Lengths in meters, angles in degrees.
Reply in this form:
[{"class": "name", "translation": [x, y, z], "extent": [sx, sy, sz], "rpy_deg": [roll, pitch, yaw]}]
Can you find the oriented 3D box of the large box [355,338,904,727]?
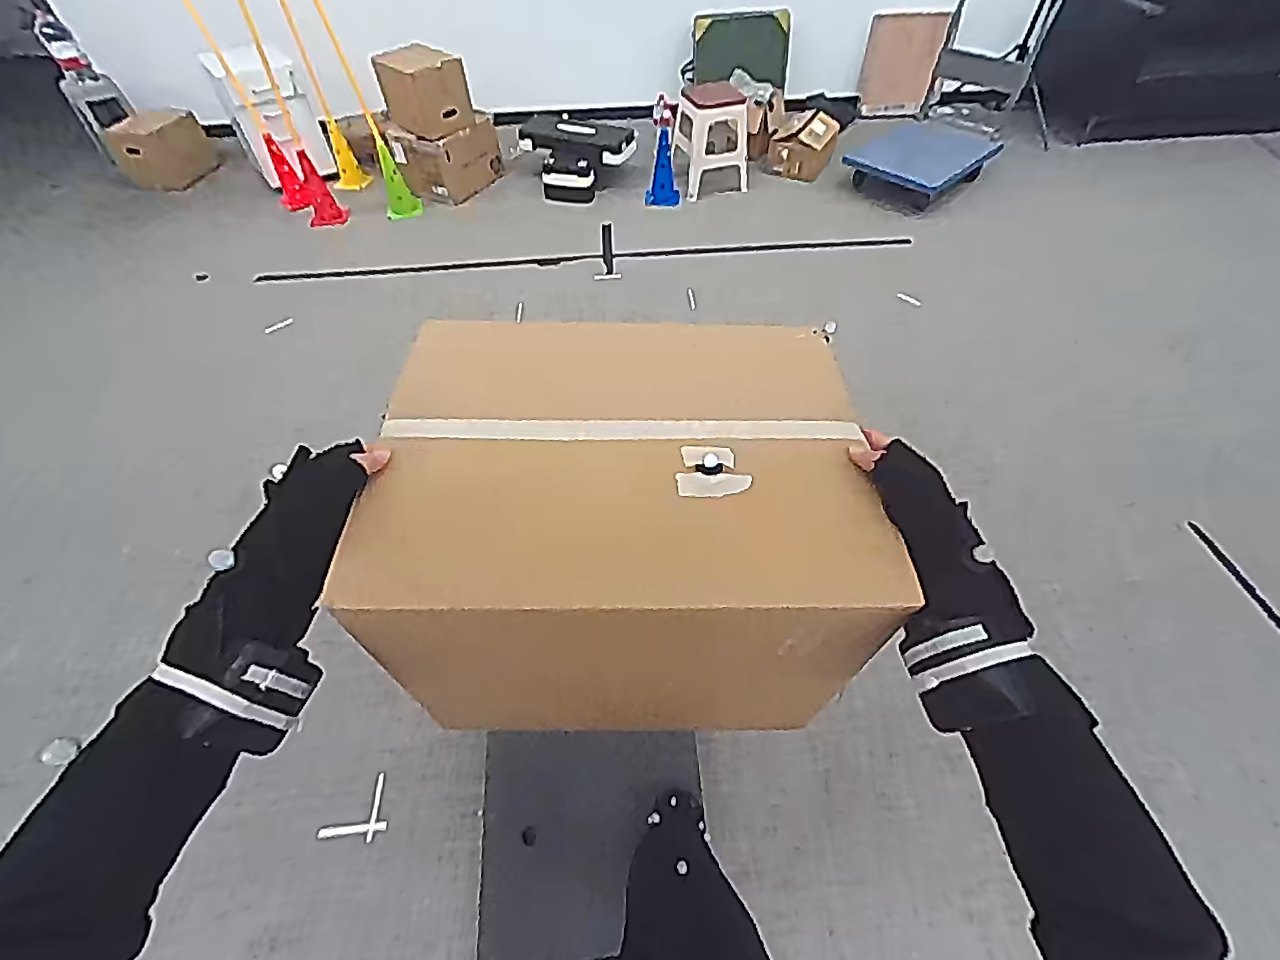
[{"class": "large box", "translation": [-0.014, 0.064, 0.592], "extent": [0.408, 0.320, 0.320], "rpy_deg": [1, 51, -2]}]
